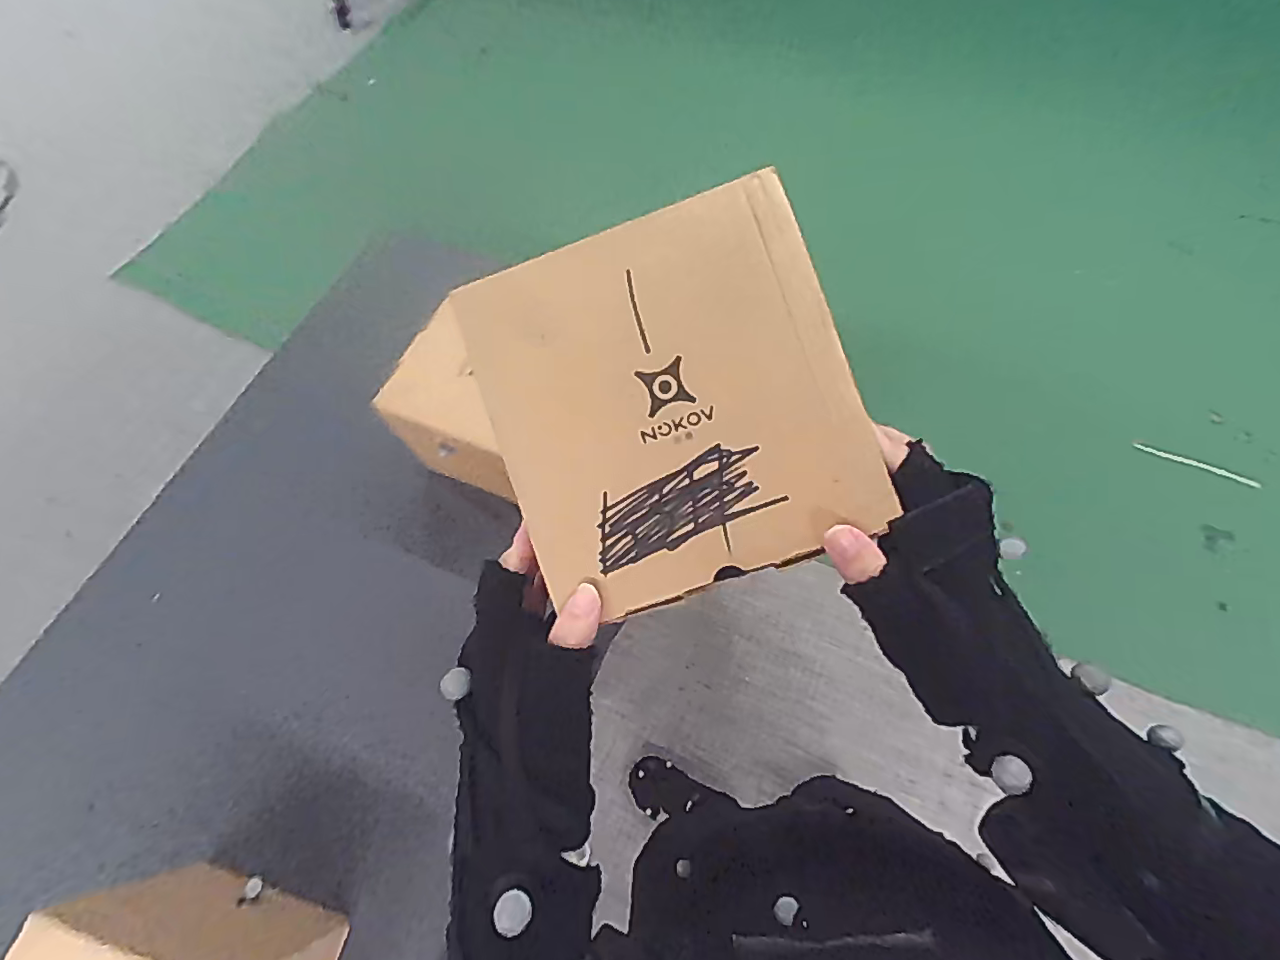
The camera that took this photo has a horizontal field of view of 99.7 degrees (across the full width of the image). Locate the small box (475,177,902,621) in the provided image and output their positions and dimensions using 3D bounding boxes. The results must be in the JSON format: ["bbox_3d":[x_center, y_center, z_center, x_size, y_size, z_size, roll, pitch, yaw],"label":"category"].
[{"bbox_3d":[0.028,-0.036,0.335,0.168,0.176,0.179,-18,87,5],"label":"small box"}]

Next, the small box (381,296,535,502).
[{"bbox_3d":[-0.172,-0.091,0.675,0.179,0.176,0.168,21,70,11],"label":"small box"}]
